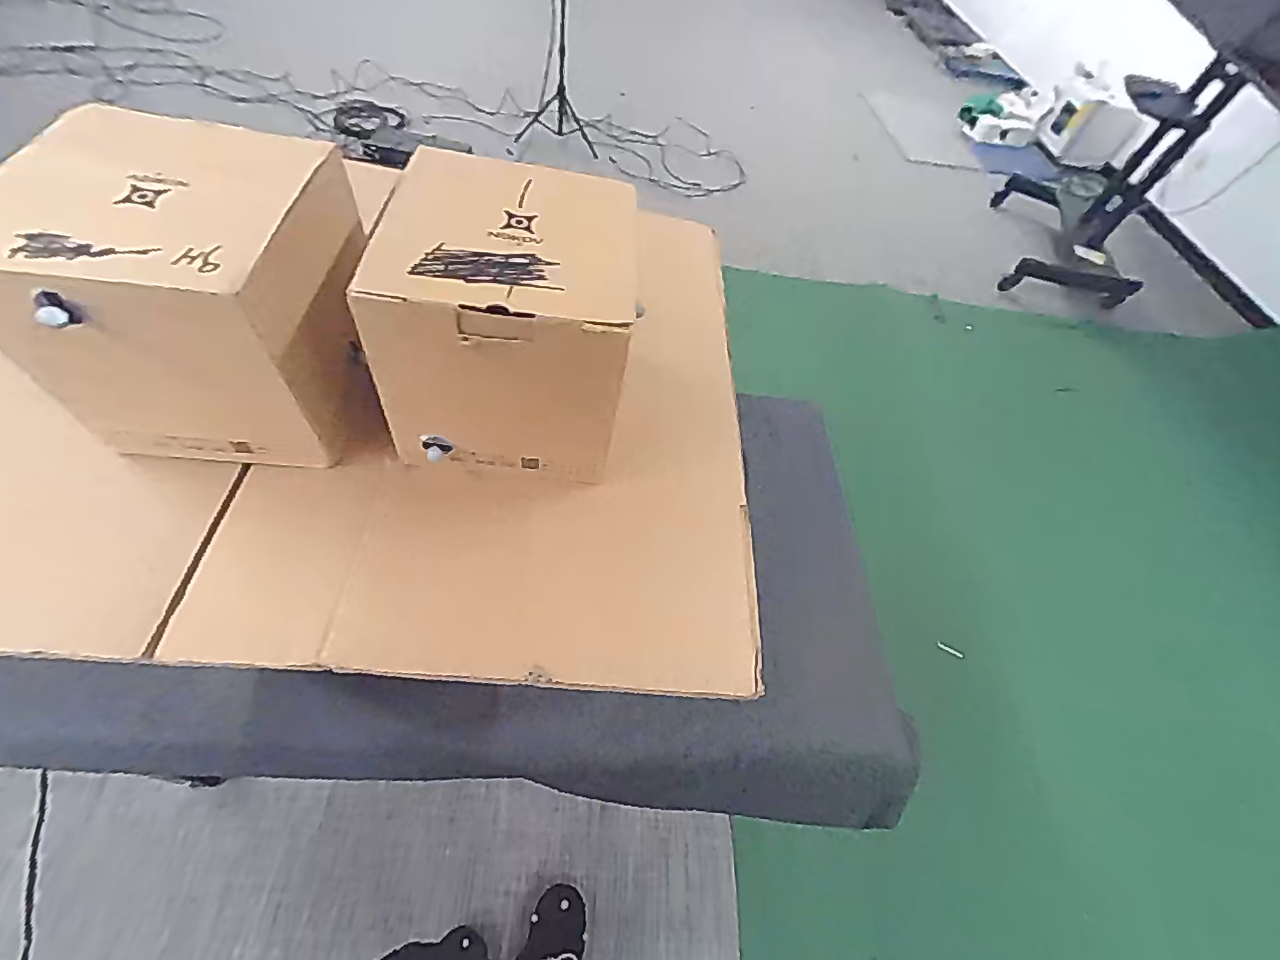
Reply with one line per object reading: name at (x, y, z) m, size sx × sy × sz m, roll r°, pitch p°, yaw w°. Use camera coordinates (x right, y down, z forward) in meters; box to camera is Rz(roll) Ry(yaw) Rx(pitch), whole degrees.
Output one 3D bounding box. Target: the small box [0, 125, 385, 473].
small box at (-0.312, -0.128, 0.405) m, size 0.168 × 0.176 × 0.179 m, roll 4°, pitch 55°, yaw -5°
